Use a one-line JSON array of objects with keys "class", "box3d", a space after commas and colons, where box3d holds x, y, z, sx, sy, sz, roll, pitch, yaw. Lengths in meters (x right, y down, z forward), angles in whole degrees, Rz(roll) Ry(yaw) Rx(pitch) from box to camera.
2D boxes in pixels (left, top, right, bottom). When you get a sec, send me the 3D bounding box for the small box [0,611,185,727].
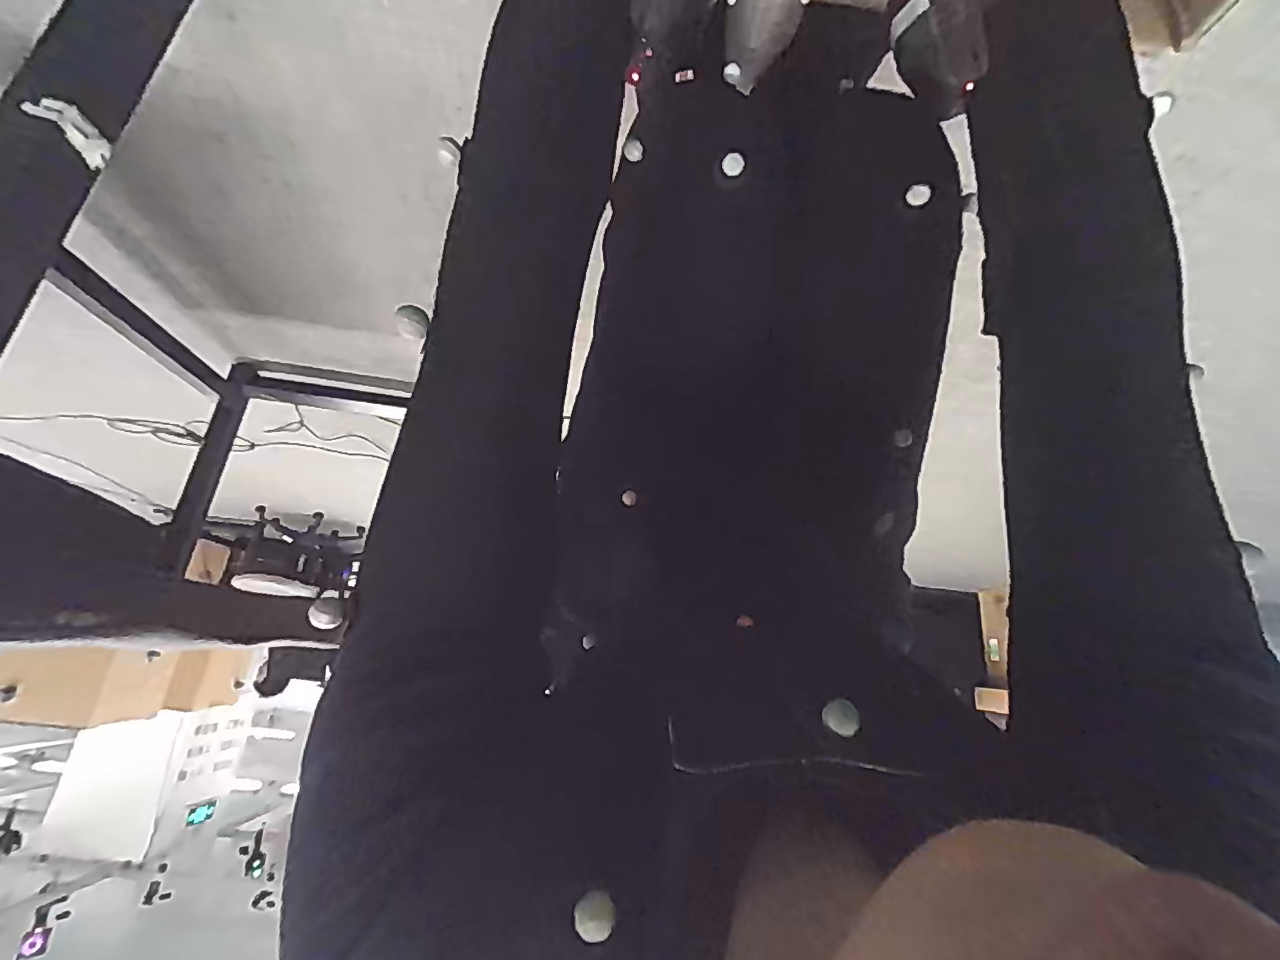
[{"class": "small box", "box3d": [-0.954, 0.321, 0.936, 0.179, 0.176, 0.168, 8, 161, -6]}]
